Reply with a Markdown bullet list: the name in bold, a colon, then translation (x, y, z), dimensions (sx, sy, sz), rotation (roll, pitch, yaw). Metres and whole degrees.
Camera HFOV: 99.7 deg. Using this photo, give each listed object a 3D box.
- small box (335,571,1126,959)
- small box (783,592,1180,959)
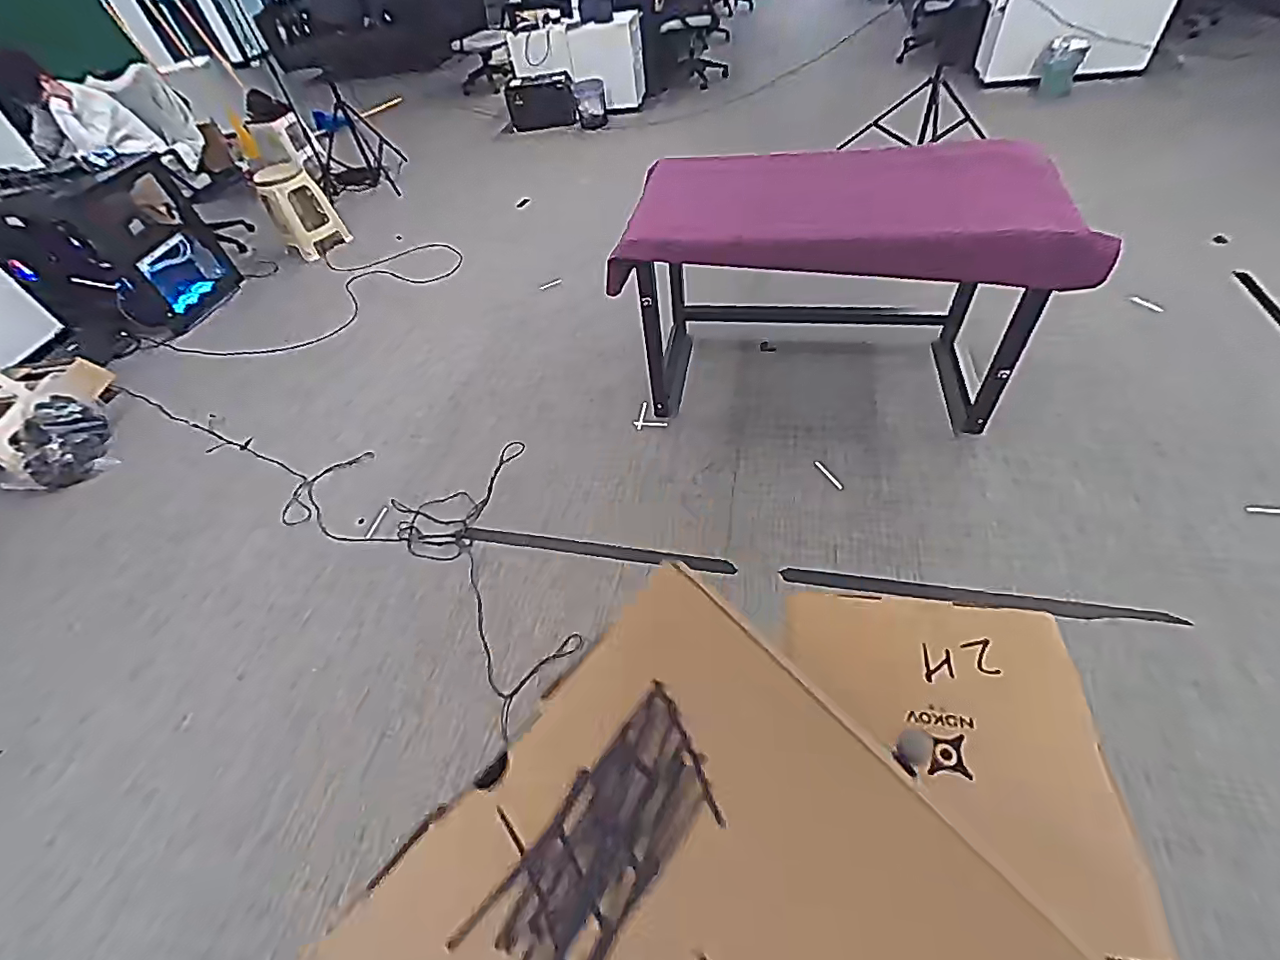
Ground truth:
- **small box**: translation (0.041, 0.162, 0.204), dimensions (0.179, 0.176, 0.168), rotation (42, 87, 22)
- **small box**: translation (0.181, 0.199, 0.367), dimensions (0.168, 0.176, 0.179), rotation (3, 50, 8)
